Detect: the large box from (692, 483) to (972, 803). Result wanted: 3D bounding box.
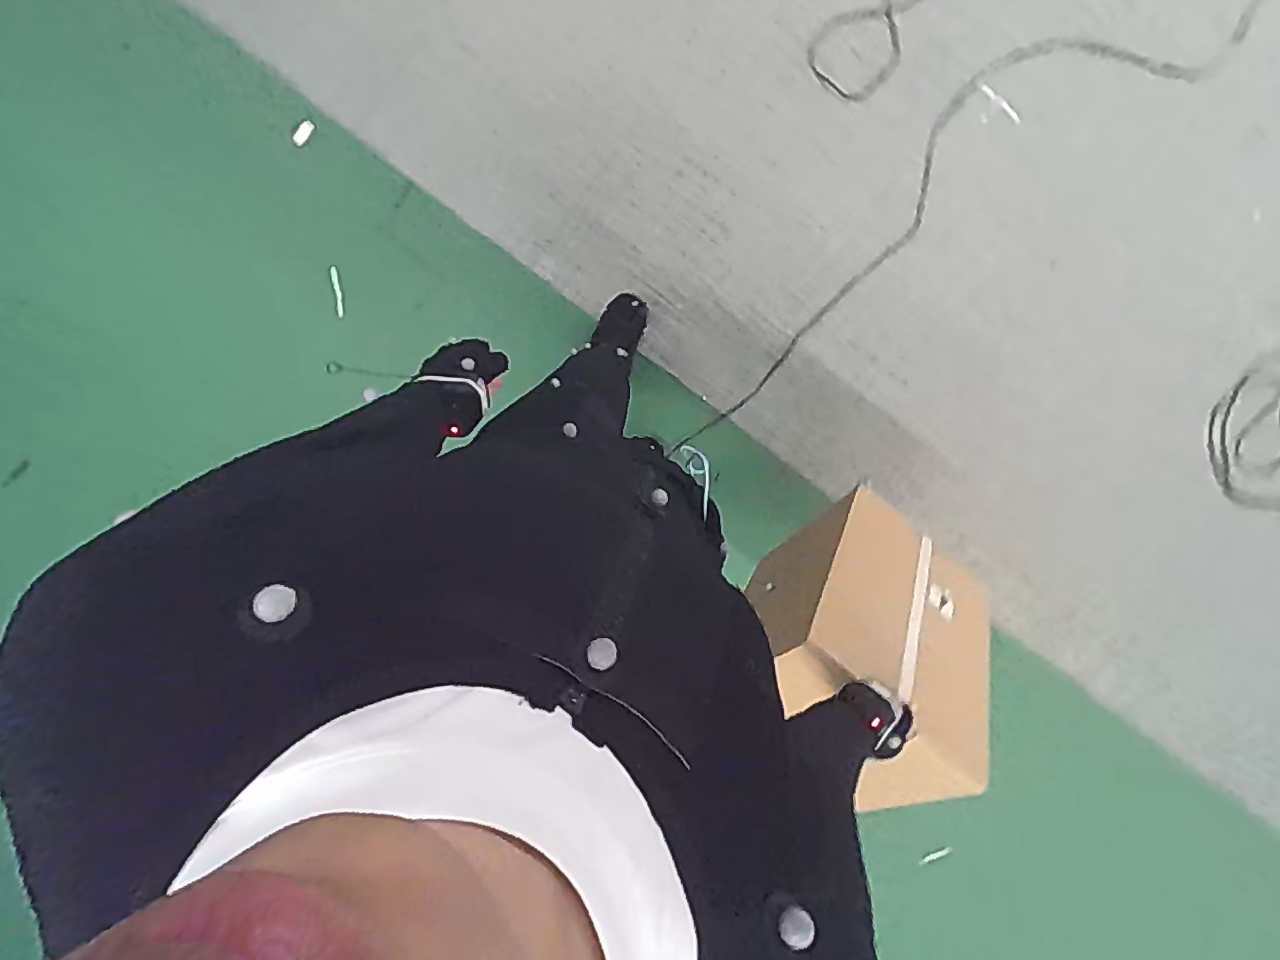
[{"bbox_3d":[0.356,0.288,0.988,0.320,0.408,0.320,42,134,1],"label":"large box"}]
